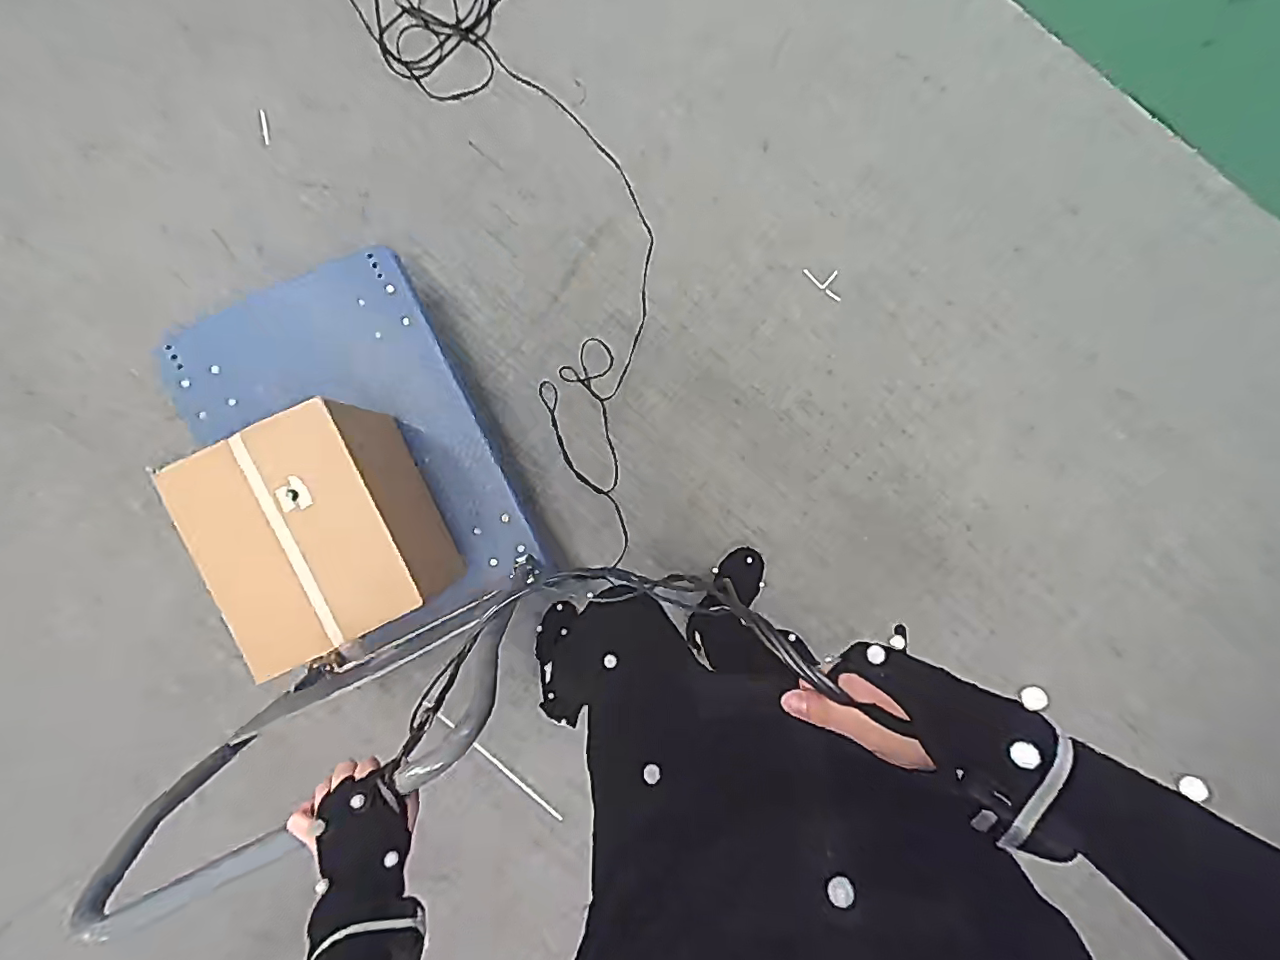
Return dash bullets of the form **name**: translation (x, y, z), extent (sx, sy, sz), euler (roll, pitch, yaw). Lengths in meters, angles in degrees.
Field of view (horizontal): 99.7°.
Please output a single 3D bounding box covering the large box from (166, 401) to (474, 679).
- **large box**: translation (-0.593, 0.105, 1.082), extent (0.320, 0.320, 0.408), euler (-27, 91, -3)
